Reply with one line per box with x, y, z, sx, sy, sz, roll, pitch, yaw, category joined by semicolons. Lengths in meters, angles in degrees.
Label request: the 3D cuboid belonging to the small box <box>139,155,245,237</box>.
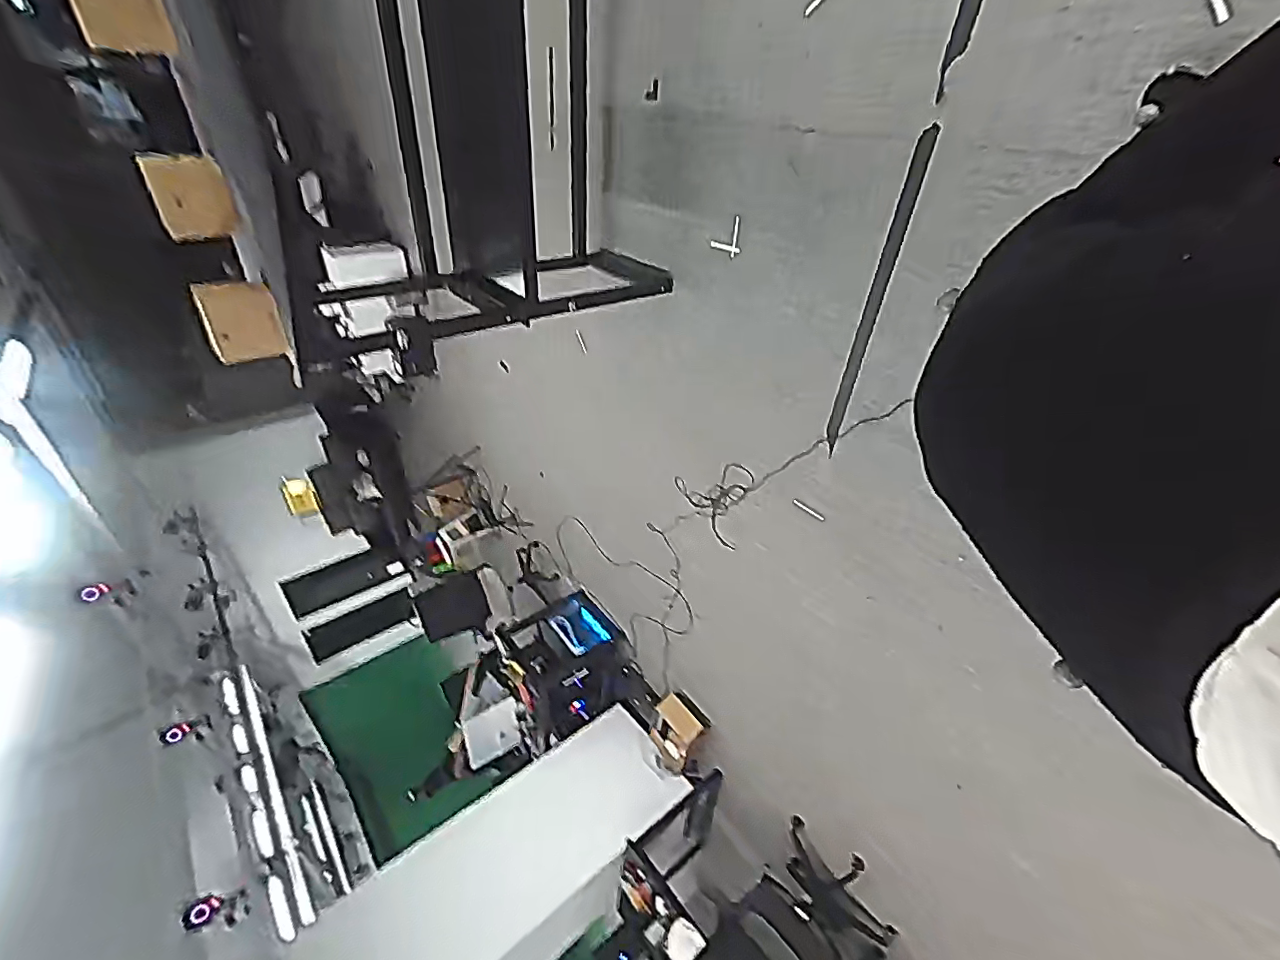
-1.234;-0.790;1.495;0.168;0.176;0.179;38;138;36;small box

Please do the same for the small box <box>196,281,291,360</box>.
-1.105;-0.452;1.514;0.179;0.176;0.168;36;136;40;small box

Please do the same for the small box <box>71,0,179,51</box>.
-1.212;-1.113;1.258;0.179;0.176;0.168;36;136;38;small box
